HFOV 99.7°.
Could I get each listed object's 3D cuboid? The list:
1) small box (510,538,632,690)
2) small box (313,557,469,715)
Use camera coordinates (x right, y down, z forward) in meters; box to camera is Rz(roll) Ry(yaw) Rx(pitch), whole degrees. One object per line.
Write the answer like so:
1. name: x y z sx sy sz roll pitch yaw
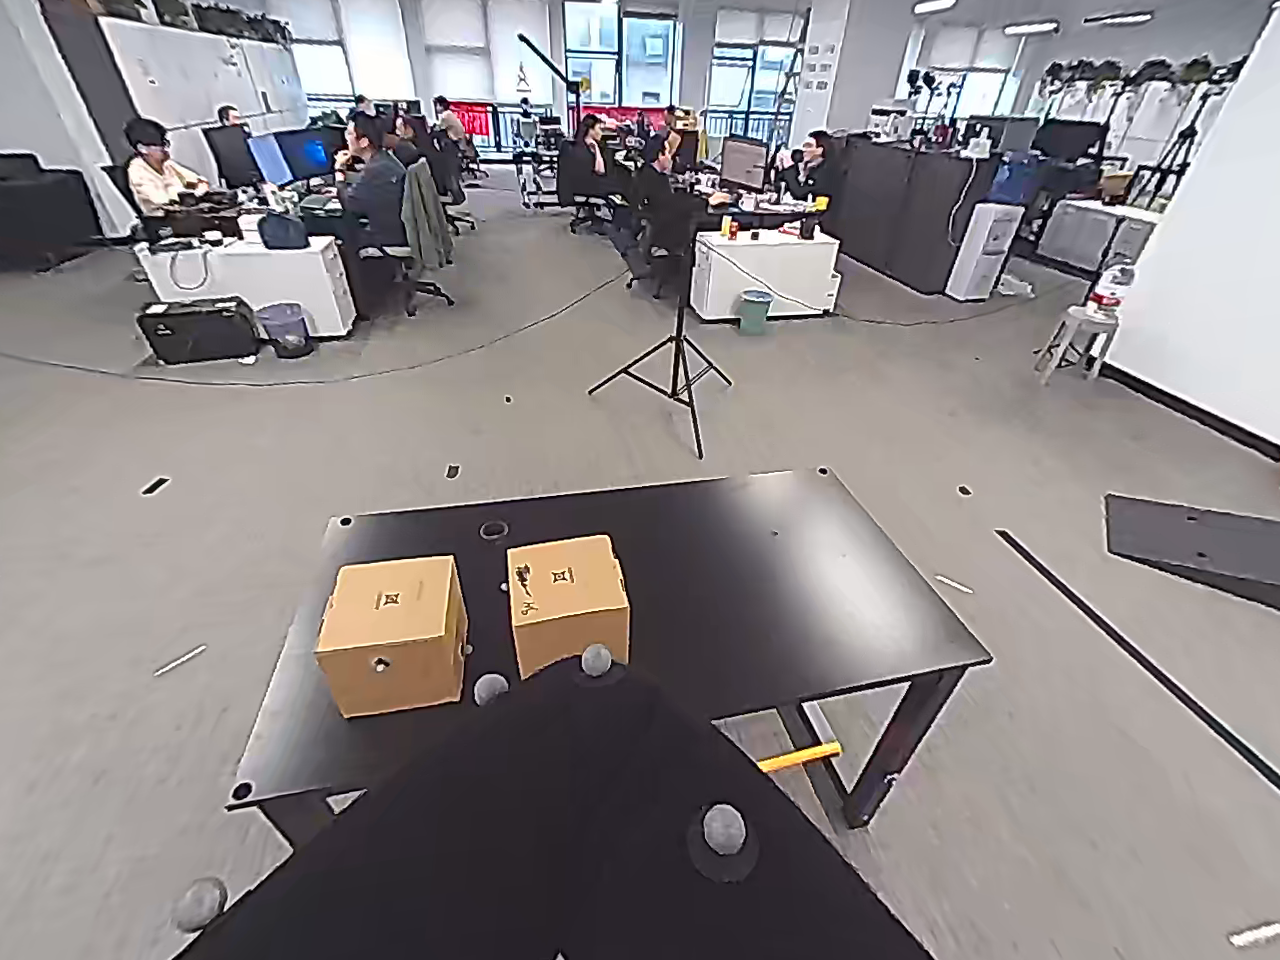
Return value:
1. small box: -0.118 0.221 0.900 0.179 0.176 0.168 -6 36 -12
2. small box: -0.376 0.245 0.853 0.179 0.176 0.168 -5 38 -11
